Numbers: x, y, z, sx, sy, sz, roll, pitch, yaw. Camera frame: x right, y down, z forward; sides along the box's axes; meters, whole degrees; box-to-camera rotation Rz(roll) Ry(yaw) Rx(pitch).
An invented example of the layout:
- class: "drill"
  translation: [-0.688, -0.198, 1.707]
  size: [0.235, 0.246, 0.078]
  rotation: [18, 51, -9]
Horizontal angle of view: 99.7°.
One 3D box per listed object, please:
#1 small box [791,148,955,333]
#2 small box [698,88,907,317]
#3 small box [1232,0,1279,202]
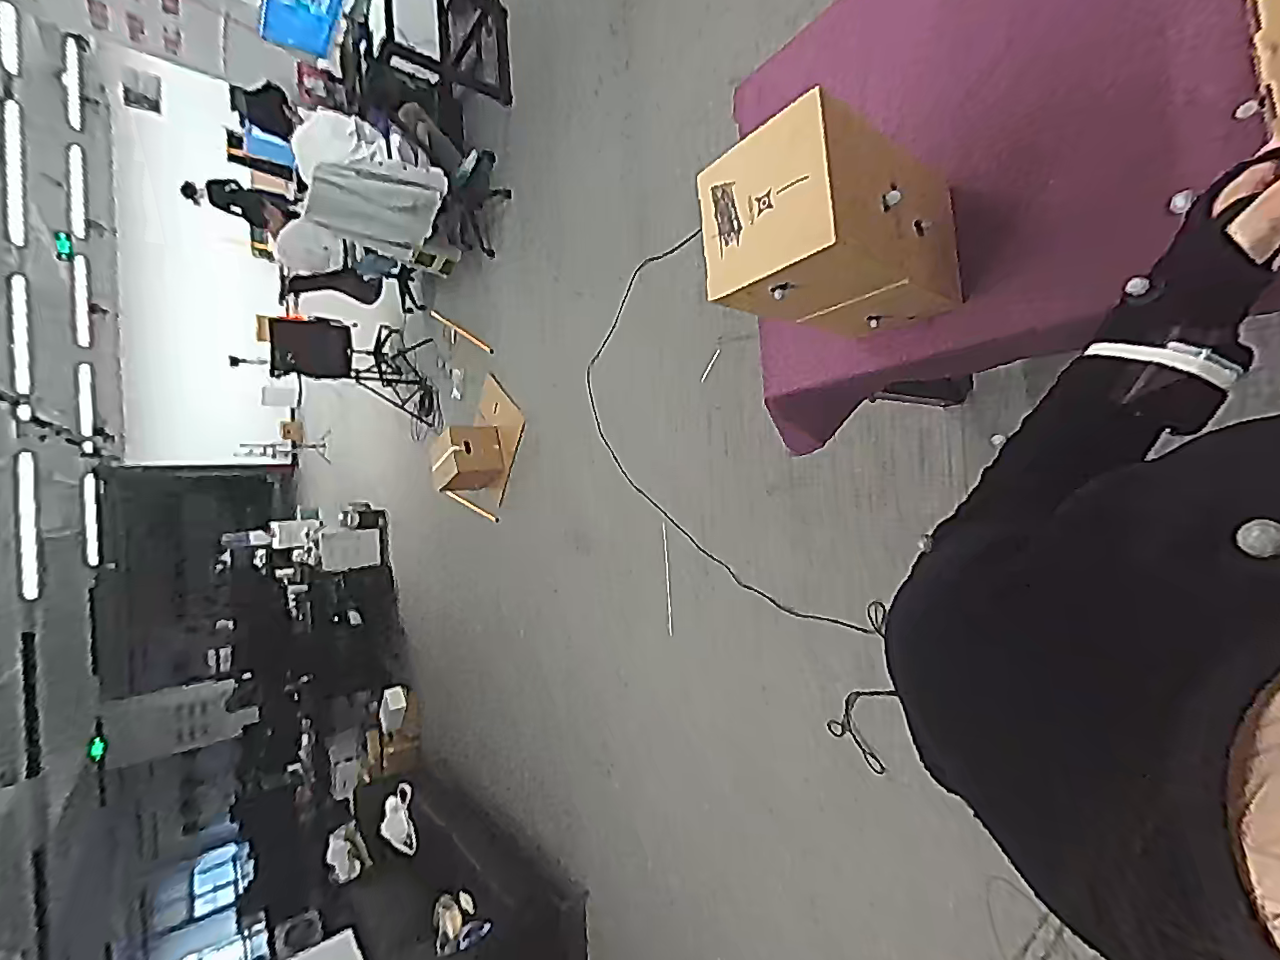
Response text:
- class: "small box"
  translation: [0.323, -0.317, 0.763]
  size: [0.168, 0.176, 0.179]
  rotation: [-8, 85, 50]
- class: "small box"
  translation: [0.195, -0.312, 0.659]
  size: [0.179, 0.176, 0.168]
  rotation: [-8, 85, 50]
- class: "small box"
  translation: [0.606, -0.347, 0.418]
  size: [0.179, 0.176, 0.168]
  rotation: [-10, 84, 51]
